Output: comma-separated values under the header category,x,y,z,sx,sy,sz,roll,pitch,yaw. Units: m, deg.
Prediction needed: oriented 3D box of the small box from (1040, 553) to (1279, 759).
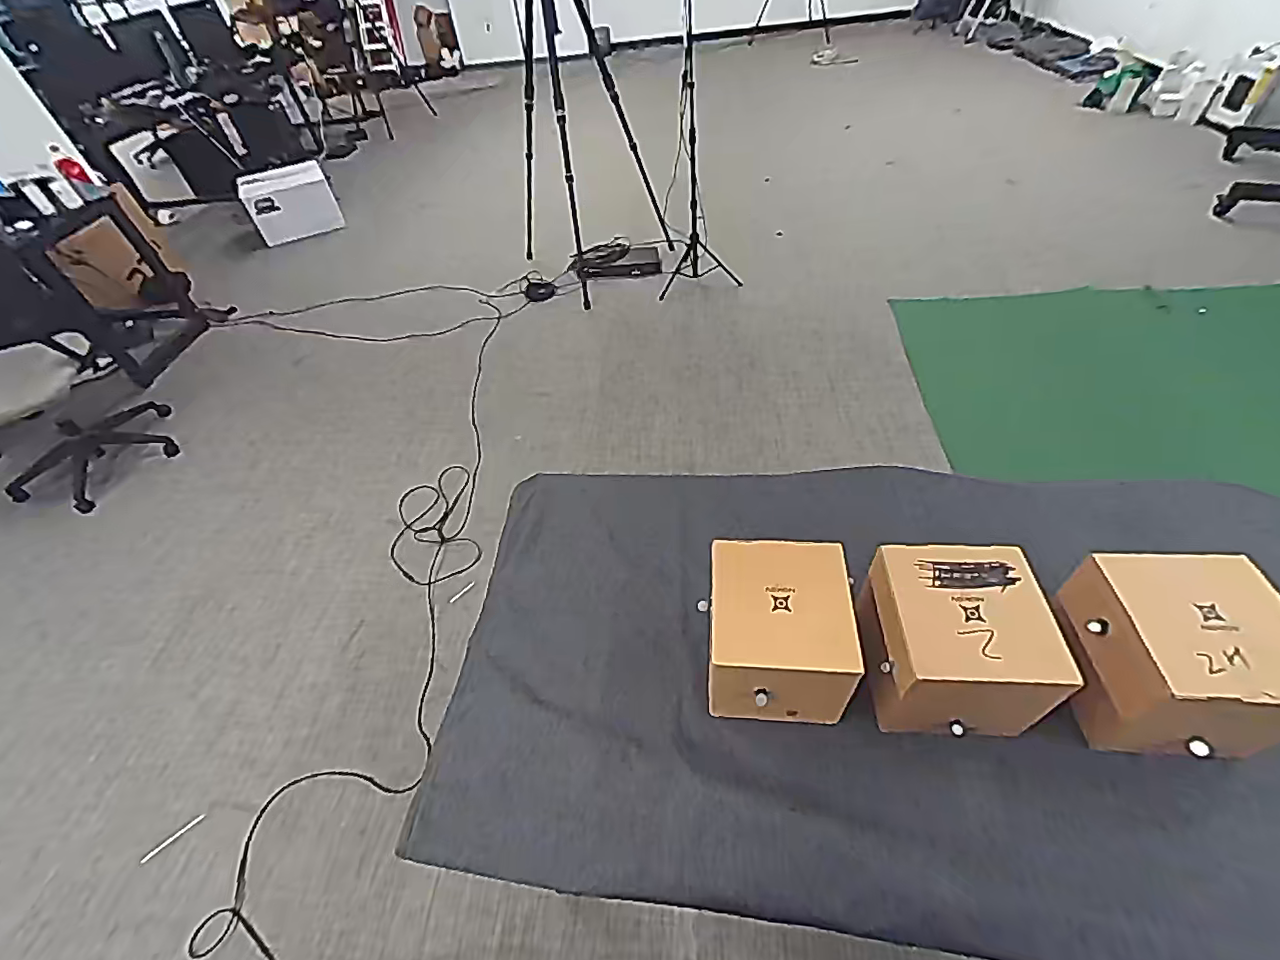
category,x,y,z,sx,sy,sz,roll,pitch,yaw
small box,0.621,0.206,0.640,0.168,0.176,0.179,-1,47,8
